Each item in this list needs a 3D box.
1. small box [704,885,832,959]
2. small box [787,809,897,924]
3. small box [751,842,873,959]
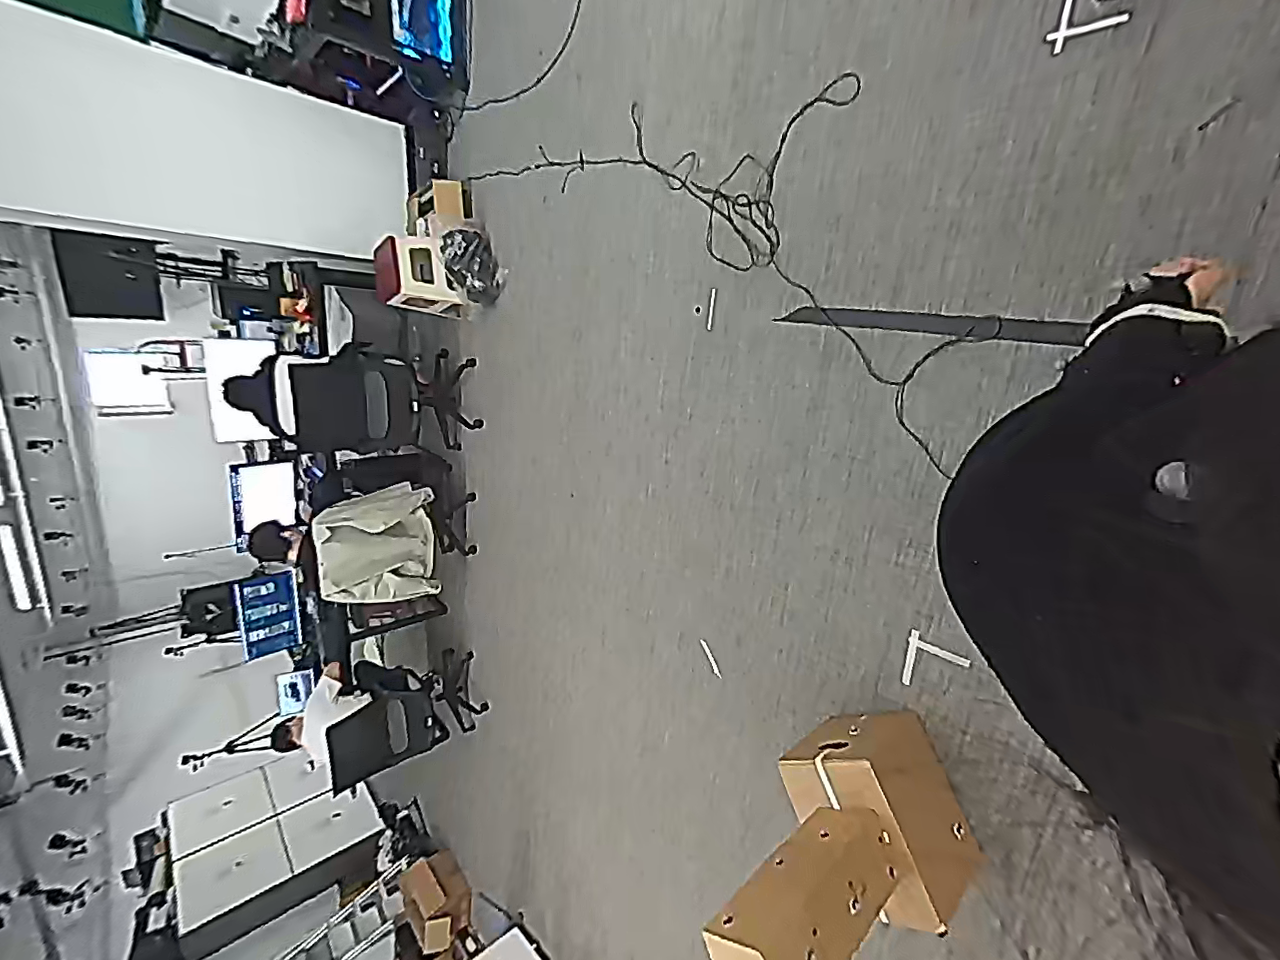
[{"bbox_3d":[0.270,0.984,1.120,0.179,0.176,0.168,-31,75,46],"label":"small box"},{"bbox_3d":[0.508,0.946,1.342,0.179,0.176,0.168,-34,71,46],"label":"small box"},{"bbox_3d":[0.391,0.962,1.231,0.179,0.176,0.168,-30,76,46],"label":"small box"}]
